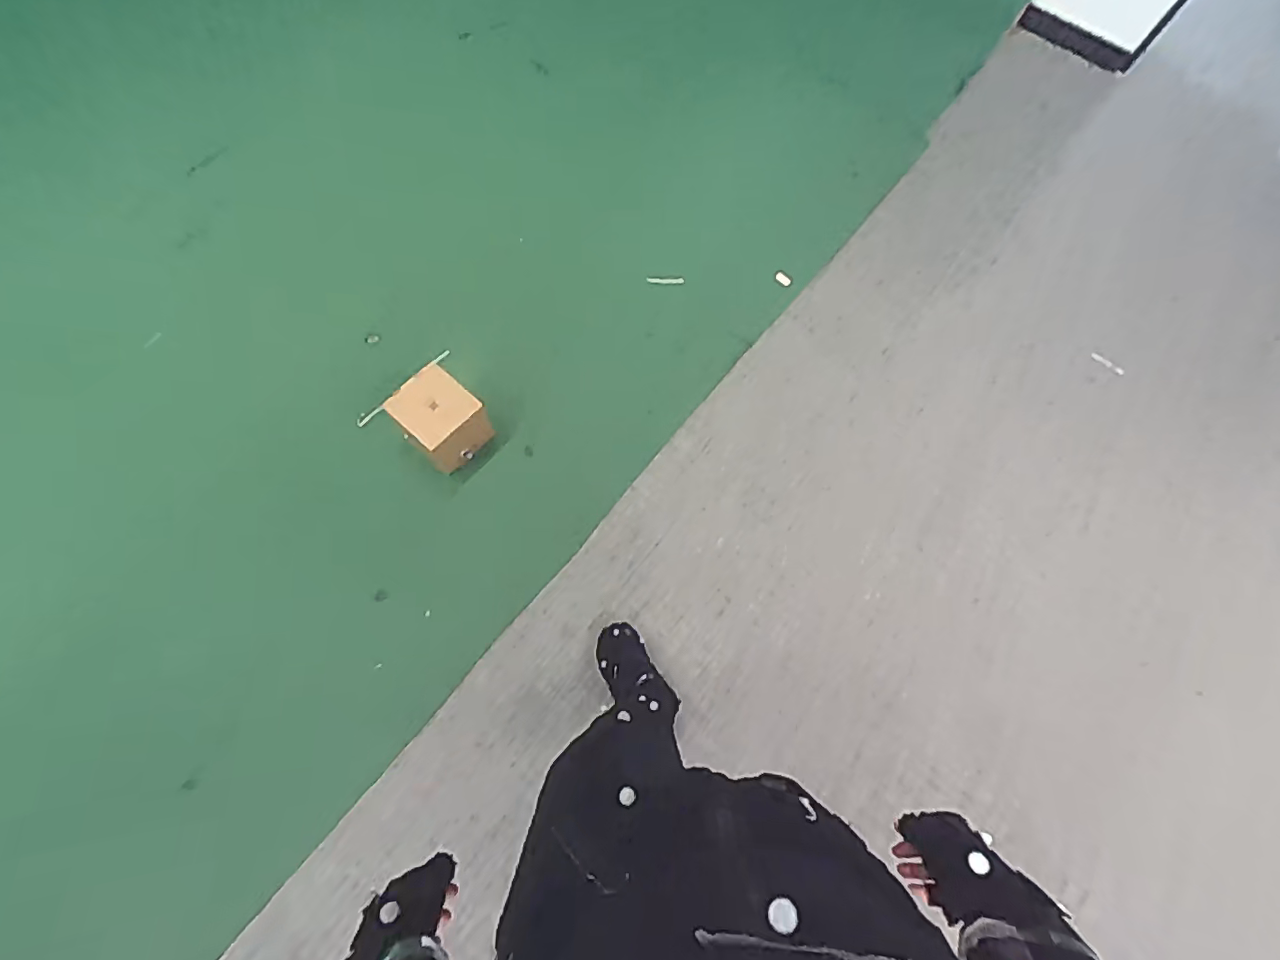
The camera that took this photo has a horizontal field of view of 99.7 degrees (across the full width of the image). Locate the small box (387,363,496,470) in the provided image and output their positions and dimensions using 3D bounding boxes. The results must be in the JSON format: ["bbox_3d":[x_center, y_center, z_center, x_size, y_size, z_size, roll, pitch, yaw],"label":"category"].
[{"bbox_3d":[-0.492,-0.153,1.363,0.179,0.176,0.168,40,72,9],"label":"small box"}]
